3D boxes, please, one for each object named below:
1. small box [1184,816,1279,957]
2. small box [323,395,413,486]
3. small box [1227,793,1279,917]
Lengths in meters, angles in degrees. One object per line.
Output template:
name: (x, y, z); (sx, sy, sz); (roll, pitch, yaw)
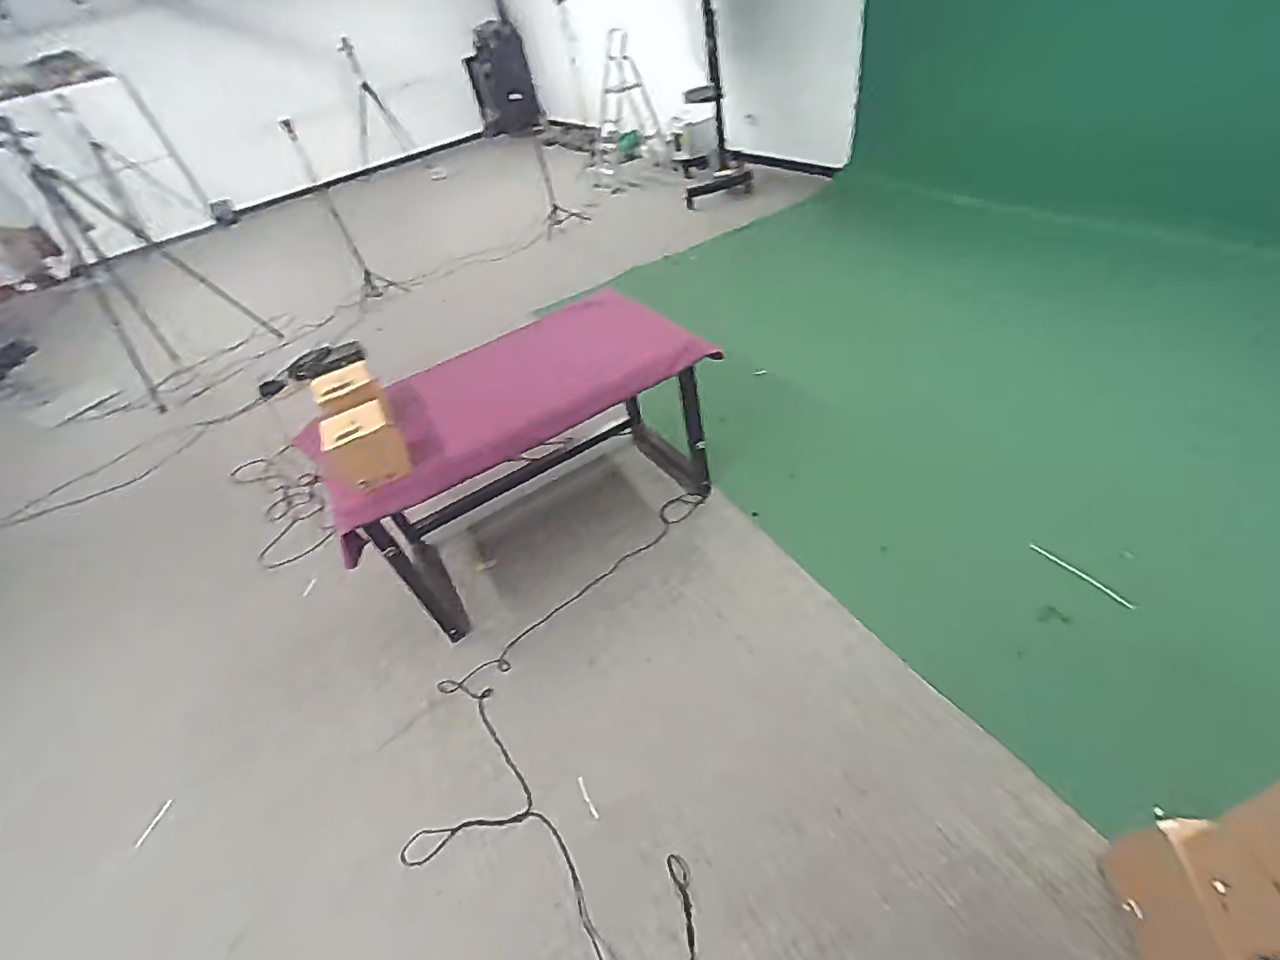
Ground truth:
small box: (1.063, 0.660, 0.875); (0.179, 0.176, 0.168); (-5, 44, 11)
small box: (-0.765, -0.104, 1.526); (0.168, 0.176, 0.179); (-26, 43, -14)
small box: (1.022, 0.546, 0.764); (0.179, 0.176, 0.168); (-4, 44, 10)
